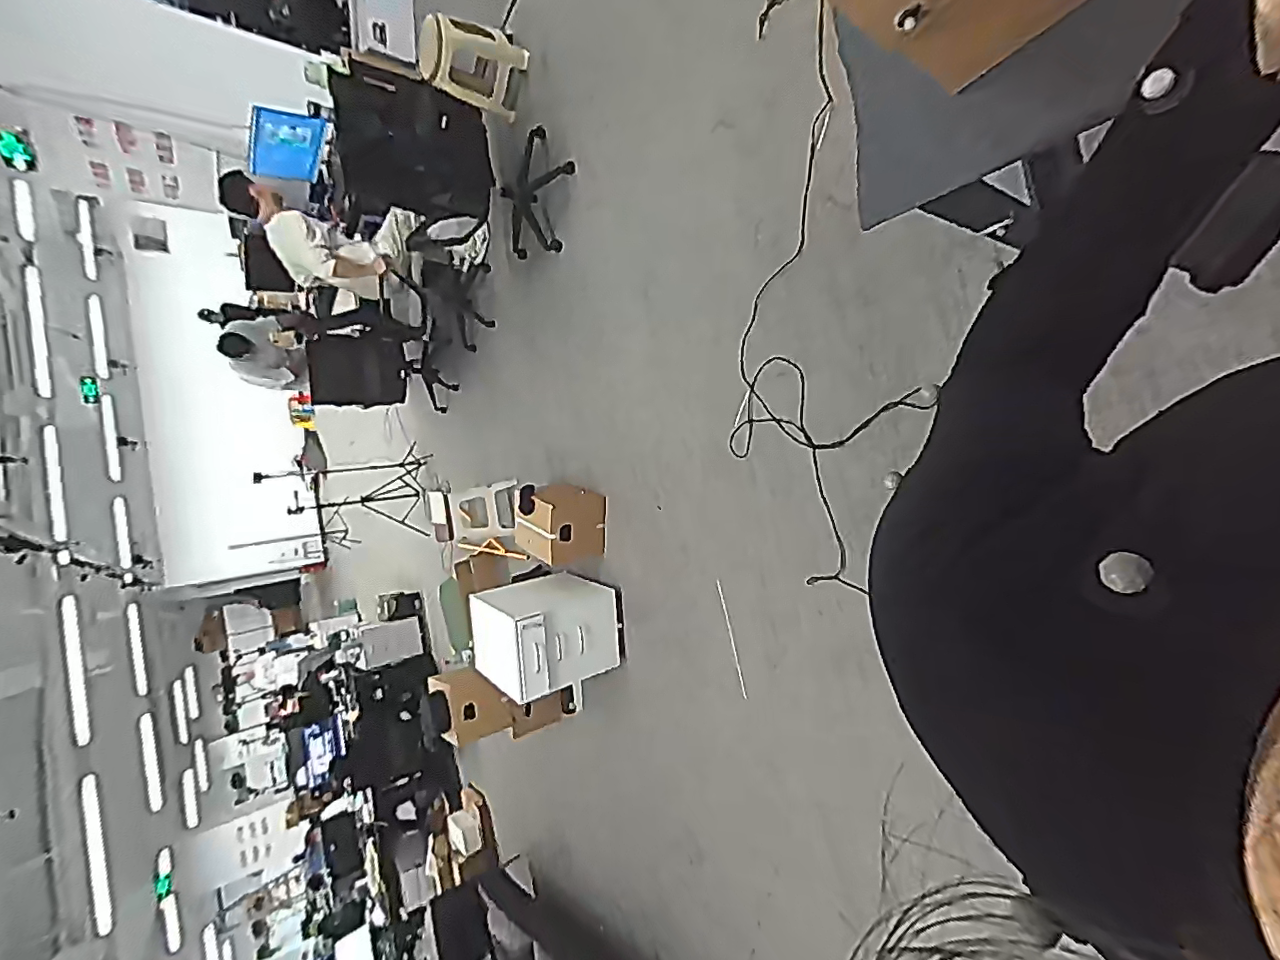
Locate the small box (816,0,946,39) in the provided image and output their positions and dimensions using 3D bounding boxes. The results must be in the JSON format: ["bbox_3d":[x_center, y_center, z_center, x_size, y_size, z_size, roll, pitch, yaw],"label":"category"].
[{"bbox_3d":[0.247,-0.568,0.506,0.168,0.176,0.179,-26,73,51],"label":"small box"}]

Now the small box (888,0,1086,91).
[{"bbox_3d":[0.383,-0.587,0.597,0.179,0.176,0.168,-20,79,53],"label":"small box"}]
